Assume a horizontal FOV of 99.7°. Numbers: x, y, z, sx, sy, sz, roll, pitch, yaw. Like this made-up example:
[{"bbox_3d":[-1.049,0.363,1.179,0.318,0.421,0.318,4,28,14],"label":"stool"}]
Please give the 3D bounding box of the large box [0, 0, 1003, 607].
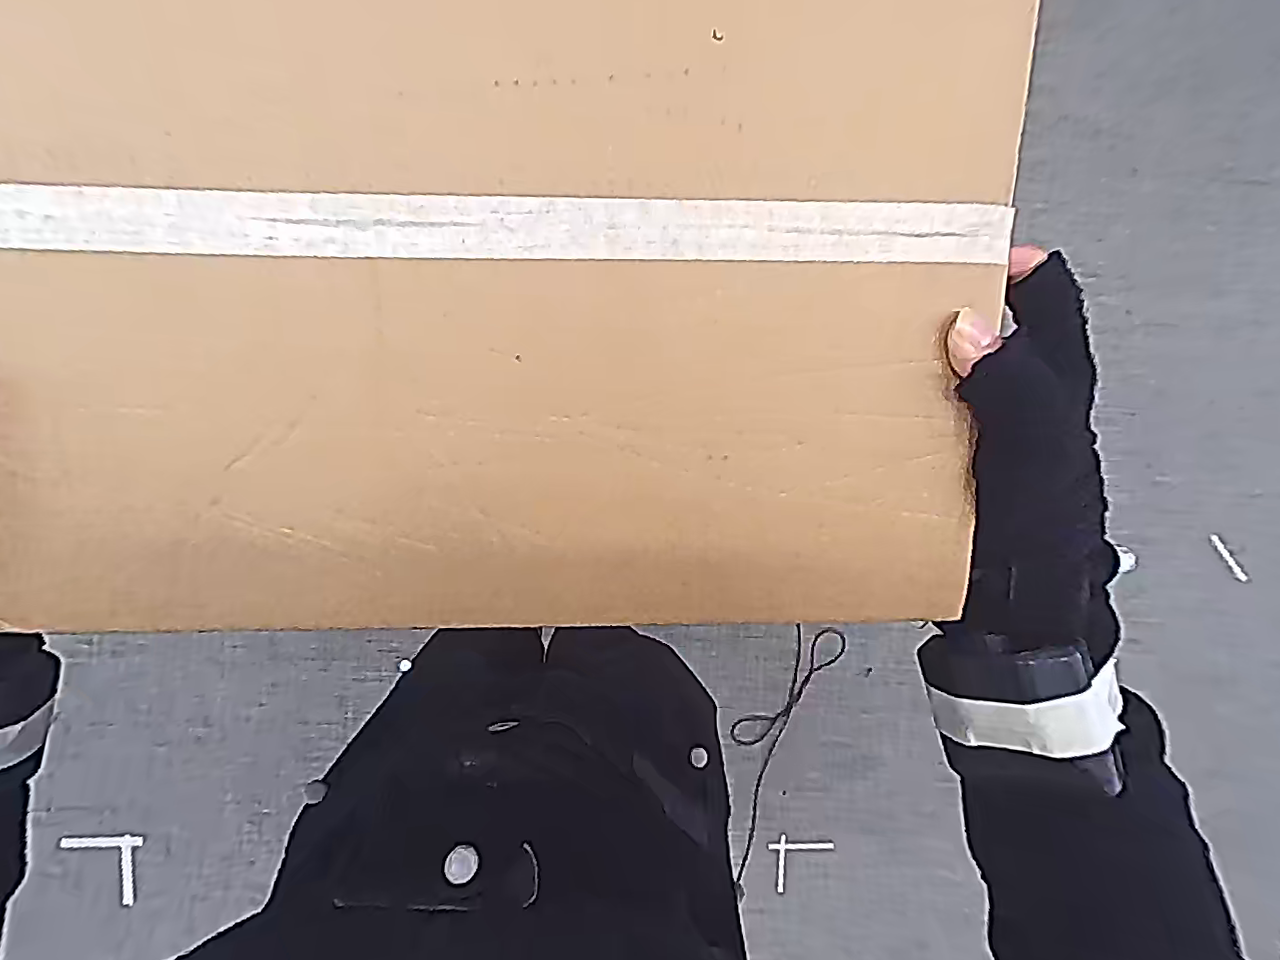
[{"bbox_3d":[-0.070,-0.126,0.356,0.408,0.320,0.320,1,101,-3],"label":"large box"}]
